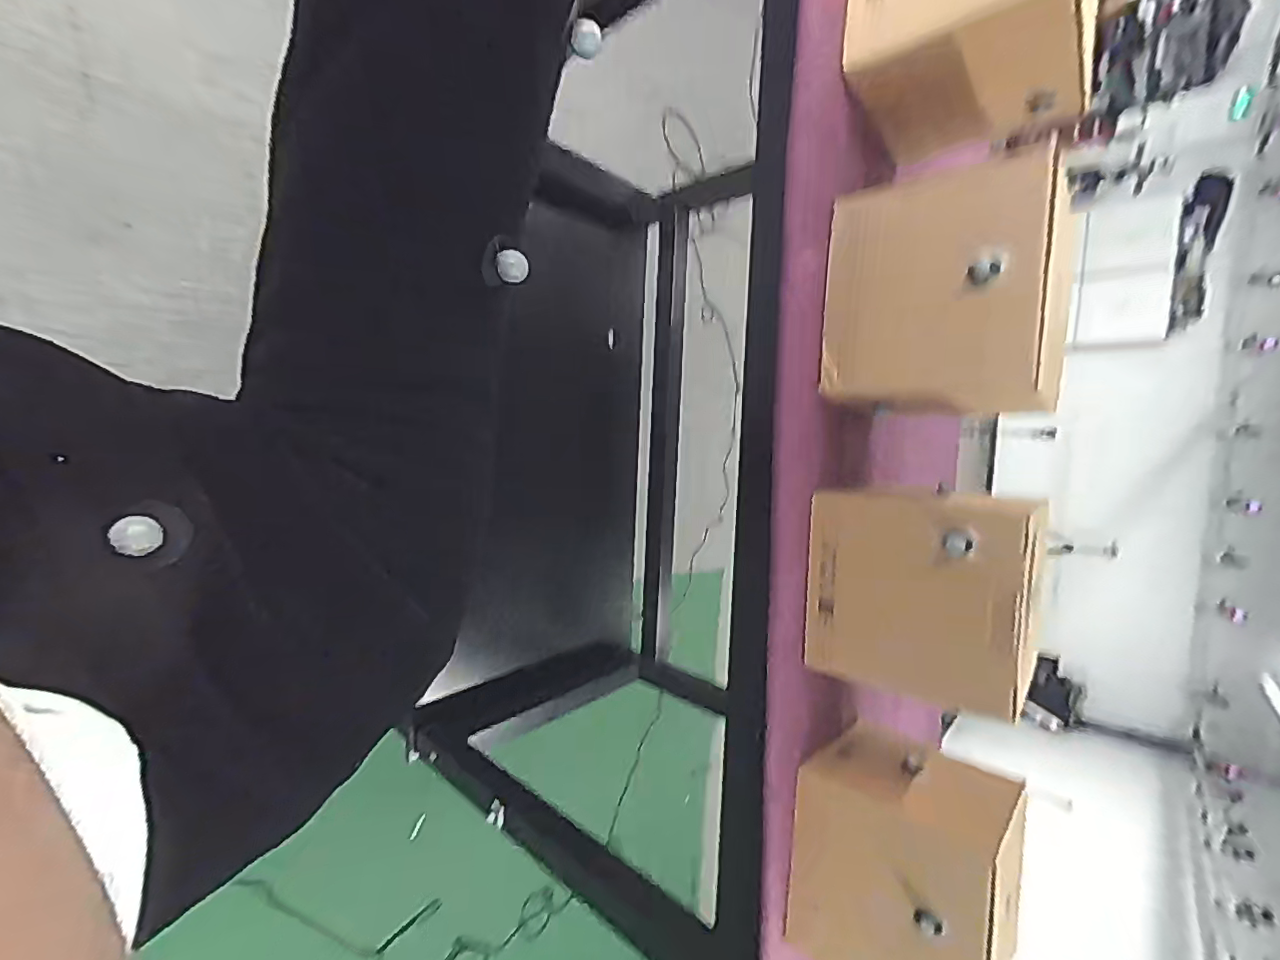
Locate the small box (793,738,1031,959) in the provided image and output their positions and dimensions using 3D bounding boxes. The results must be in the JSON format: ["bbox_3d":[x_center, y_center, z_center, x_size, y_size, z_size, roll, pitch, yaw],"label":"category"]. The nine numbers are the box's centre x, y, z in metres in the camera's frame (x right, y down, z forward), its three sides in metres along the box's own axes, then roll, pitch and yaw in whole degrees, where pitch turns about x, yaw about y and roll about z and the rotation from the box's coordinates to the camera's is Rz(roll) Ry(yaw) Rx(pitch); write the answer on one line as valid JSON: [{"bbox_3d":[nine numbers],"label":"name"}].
[{"bbox_3d":[0.263,0.375,0.526,0.168,0.176,0.179,5,90,-47],"label":"small box"}]

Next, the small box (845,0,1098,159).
[{"bbox_3d":[0.296,-0.423,0.482,0.179,0.176,0.168,3,92,-50],"label":"small box"}]
